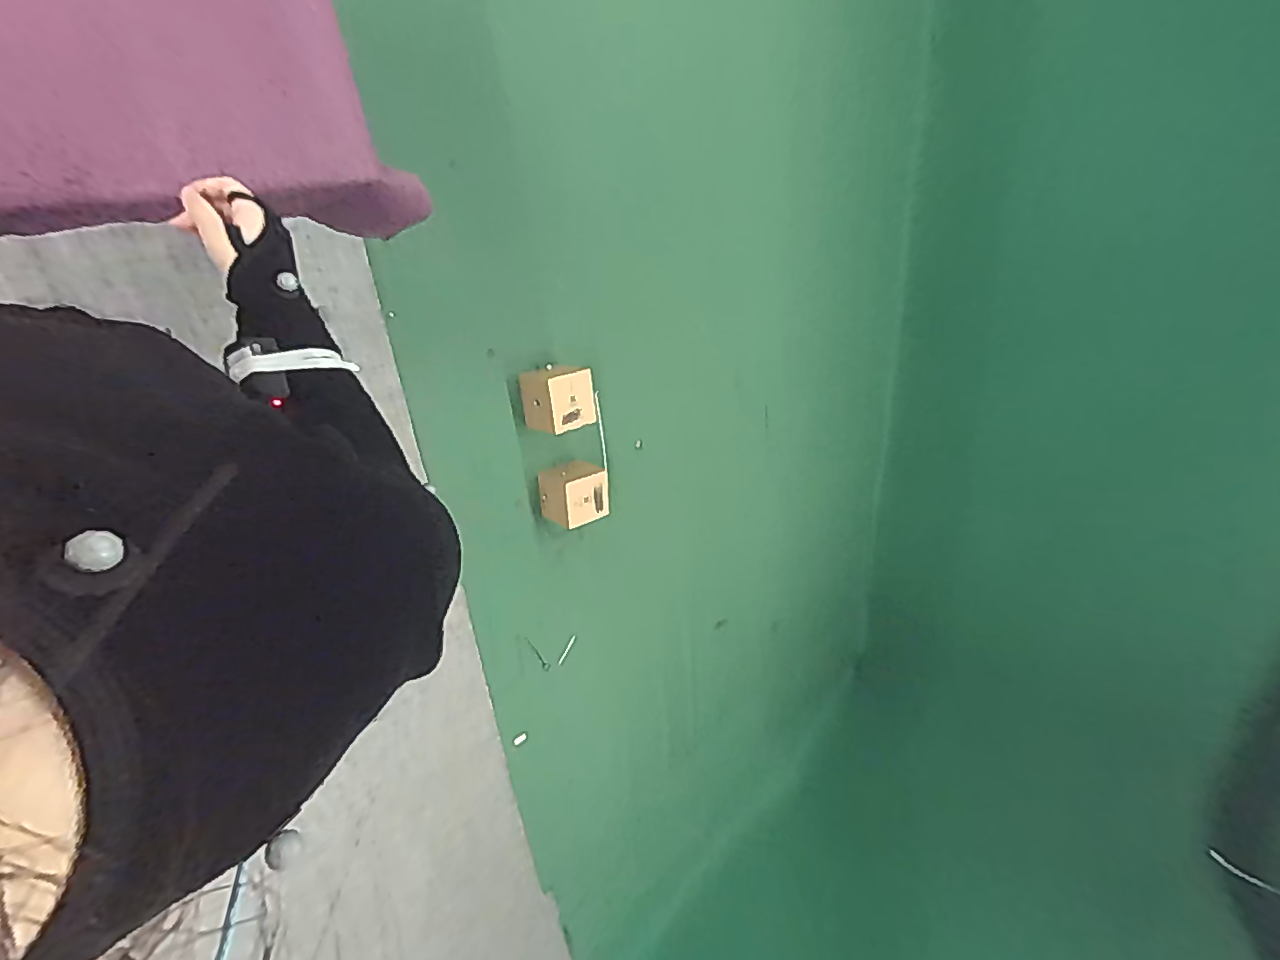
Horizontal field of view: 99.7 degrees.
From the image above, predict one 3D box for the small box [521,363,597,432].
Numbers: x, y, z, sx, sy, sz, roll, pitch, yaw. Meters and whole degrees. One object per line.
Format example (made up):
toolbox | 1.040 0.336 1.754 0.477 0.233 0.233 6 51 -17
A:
small box | -0.260 -0.269 1.725 0.168 0.176 0.179 -24 119 -37
